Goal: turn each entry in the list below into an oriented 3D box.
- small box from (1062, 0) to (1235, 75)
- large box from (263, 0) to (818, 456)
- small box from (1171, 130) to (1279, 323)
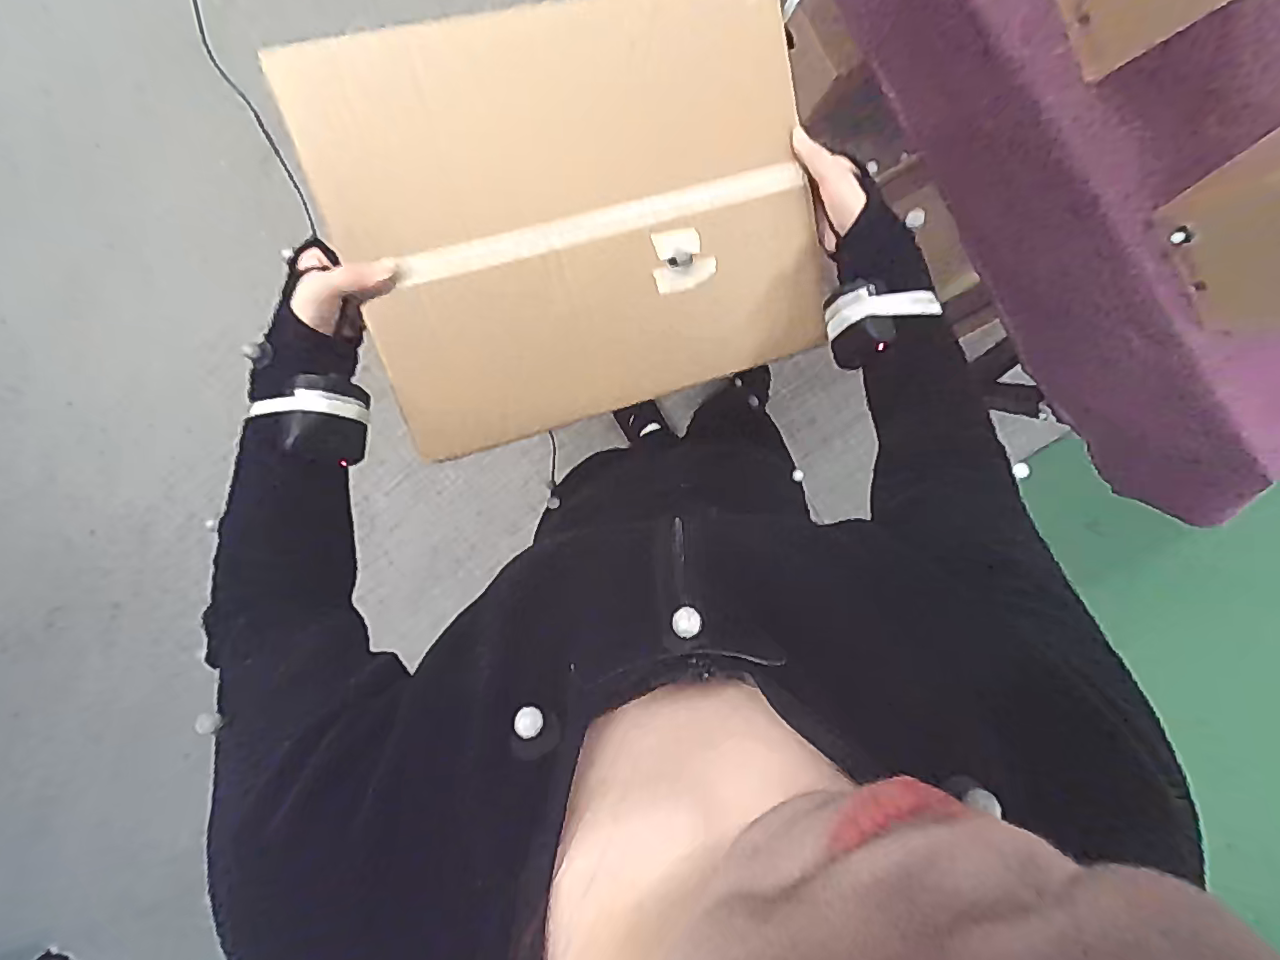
[{"bbox_3d":[0.538,-0.537,0.502,0.179,0.176,0.168,-30,102,10],"label":"small box"},{"bbox_3d":[-0.085,-0.256,0.597,0.408,0.320,0.320,-19,109,-10],"label":"large box"},{"bbox_3d":[0.720,-0.279,0.562,0.179,0.176,0.168,-35,101,9],"label":"small box"}]
